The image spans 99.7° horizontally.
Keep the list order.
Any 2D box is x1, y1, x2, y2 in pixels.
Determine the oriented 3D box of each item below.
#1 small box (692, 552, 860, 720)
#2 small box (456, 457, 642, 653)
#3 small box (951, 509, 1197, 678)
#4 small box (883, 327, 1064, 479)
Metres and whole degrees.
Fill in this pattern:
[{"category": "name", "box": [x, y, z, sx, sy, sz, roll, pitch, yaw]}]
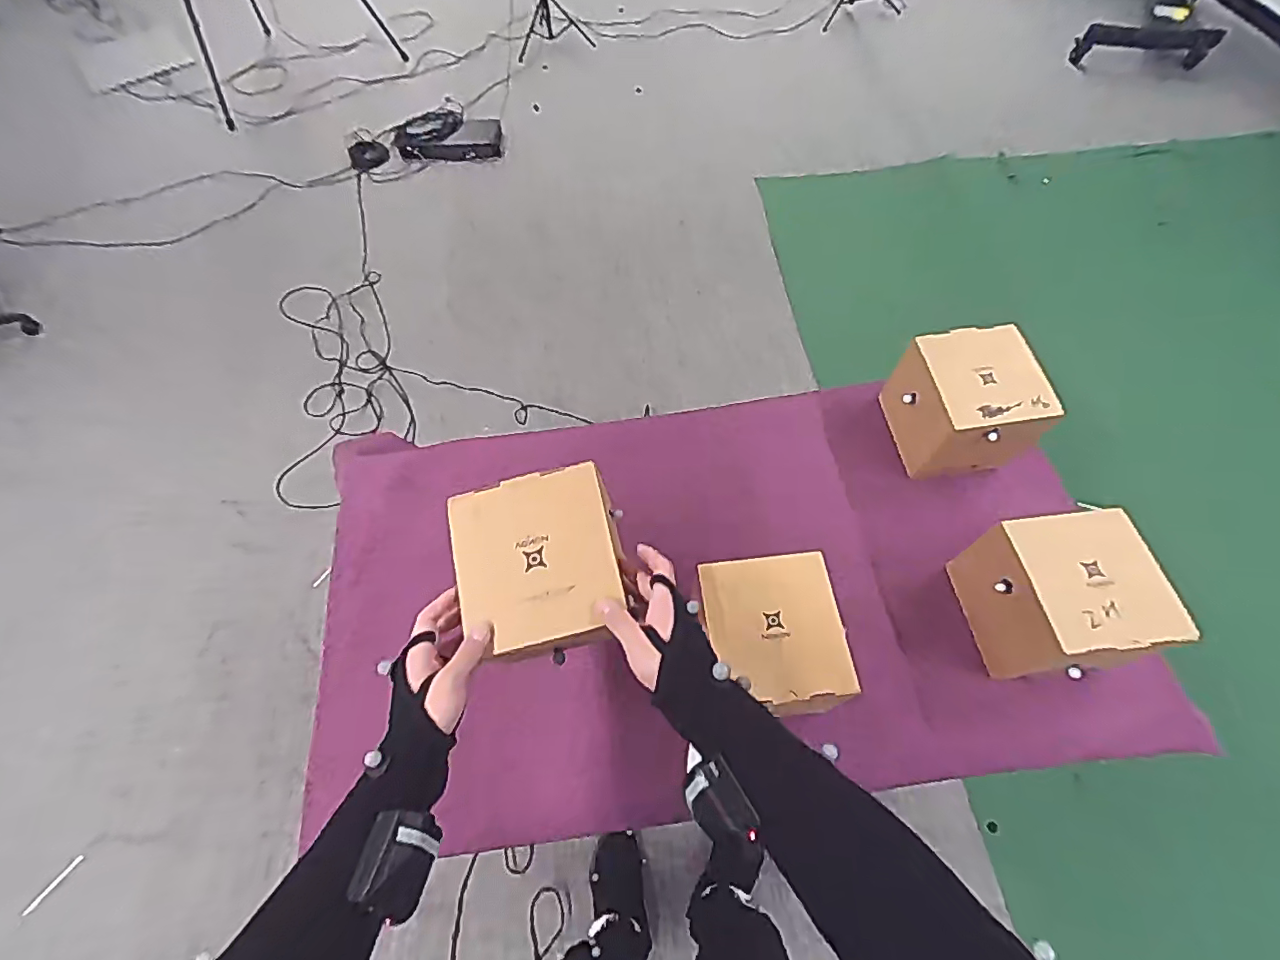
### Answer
[{"category": "small box", "box": [0.166, 0.215, 0.728, 0.168, 0.176, 0.179, -6, 62, -2]}, {"category": "small box", "box": [-0.098, 0.097, 0.634, 0.168, 0.176, 0.179, -14, 71, -1]}, {"category": "small box", "box": [0.566, 0.160, 0.741, 0.168, 0.176, 0.179, -6, 61, 0]}, {"category": "small box", "box": [0.528, -0.122, 0.891, 0.168, 0.176, 0.179, -8, 64, 0]}]
